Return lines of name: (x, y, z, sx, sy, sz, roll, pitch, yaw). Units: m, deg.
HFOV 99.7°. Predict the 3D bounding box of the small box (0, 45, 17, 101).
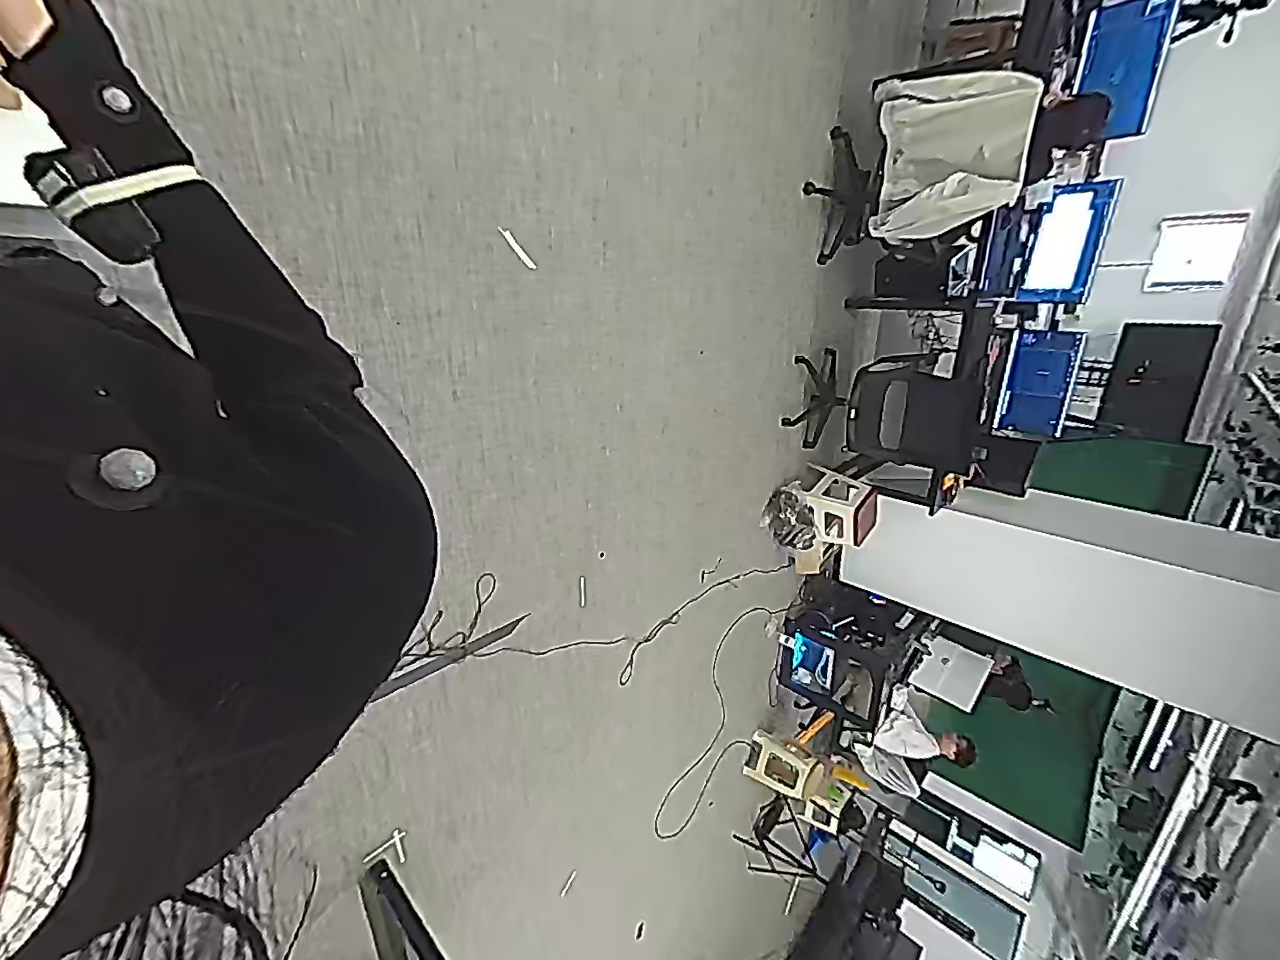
small box: (-0.644, -0.434, 0.432, 0.168, 0.176, 0.179, -18, 117, -44)
